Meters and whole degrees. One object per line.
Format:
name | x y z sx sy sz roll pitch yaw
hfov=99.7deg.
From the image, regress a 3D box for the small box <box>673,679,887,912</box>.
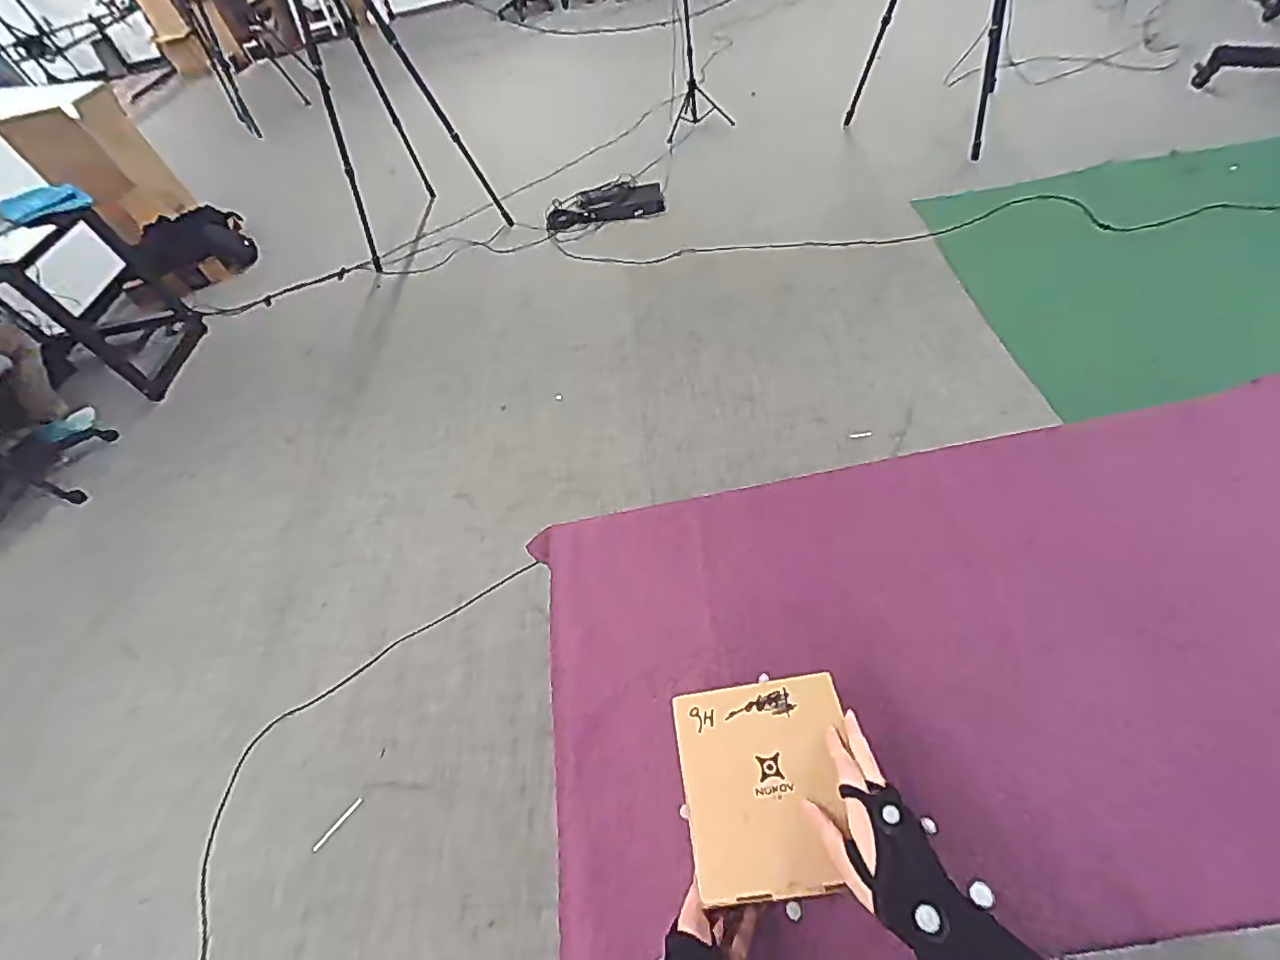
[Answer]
small box | 0.133 0.329 0.565 0.168 0.176 0.179 -10 53 4
